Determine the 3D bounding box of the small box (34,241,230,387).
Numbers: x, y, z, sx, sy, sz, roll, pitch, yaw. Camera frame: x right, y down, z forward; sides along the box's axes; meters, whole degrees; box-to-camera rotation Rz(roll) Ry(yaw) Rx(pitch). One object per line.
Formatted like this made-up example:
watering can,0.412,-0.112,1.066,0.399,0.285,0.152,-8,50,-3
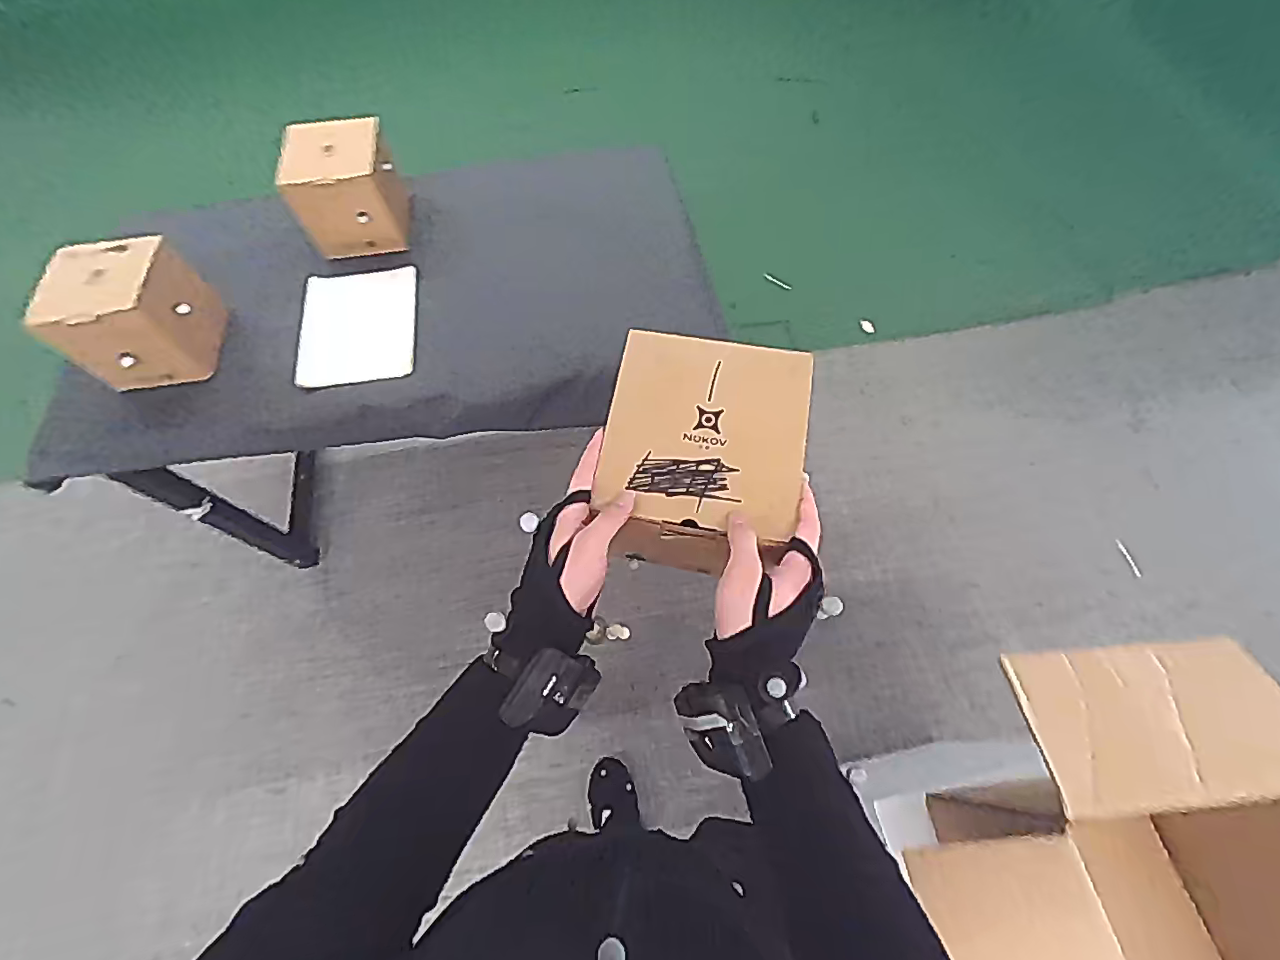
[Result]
small box,-0.856,-0.277,0.935,0.168,0.176,0.179,-9,64,-4

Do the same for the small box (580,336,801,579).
small box,0.050,-0.011,0.527,0.168,0.176,0.179,9,70,6

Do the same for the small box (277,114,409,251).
small box,-0.566,-0.570,1.055,0.168,0.176,0.179,-8,64,-4
